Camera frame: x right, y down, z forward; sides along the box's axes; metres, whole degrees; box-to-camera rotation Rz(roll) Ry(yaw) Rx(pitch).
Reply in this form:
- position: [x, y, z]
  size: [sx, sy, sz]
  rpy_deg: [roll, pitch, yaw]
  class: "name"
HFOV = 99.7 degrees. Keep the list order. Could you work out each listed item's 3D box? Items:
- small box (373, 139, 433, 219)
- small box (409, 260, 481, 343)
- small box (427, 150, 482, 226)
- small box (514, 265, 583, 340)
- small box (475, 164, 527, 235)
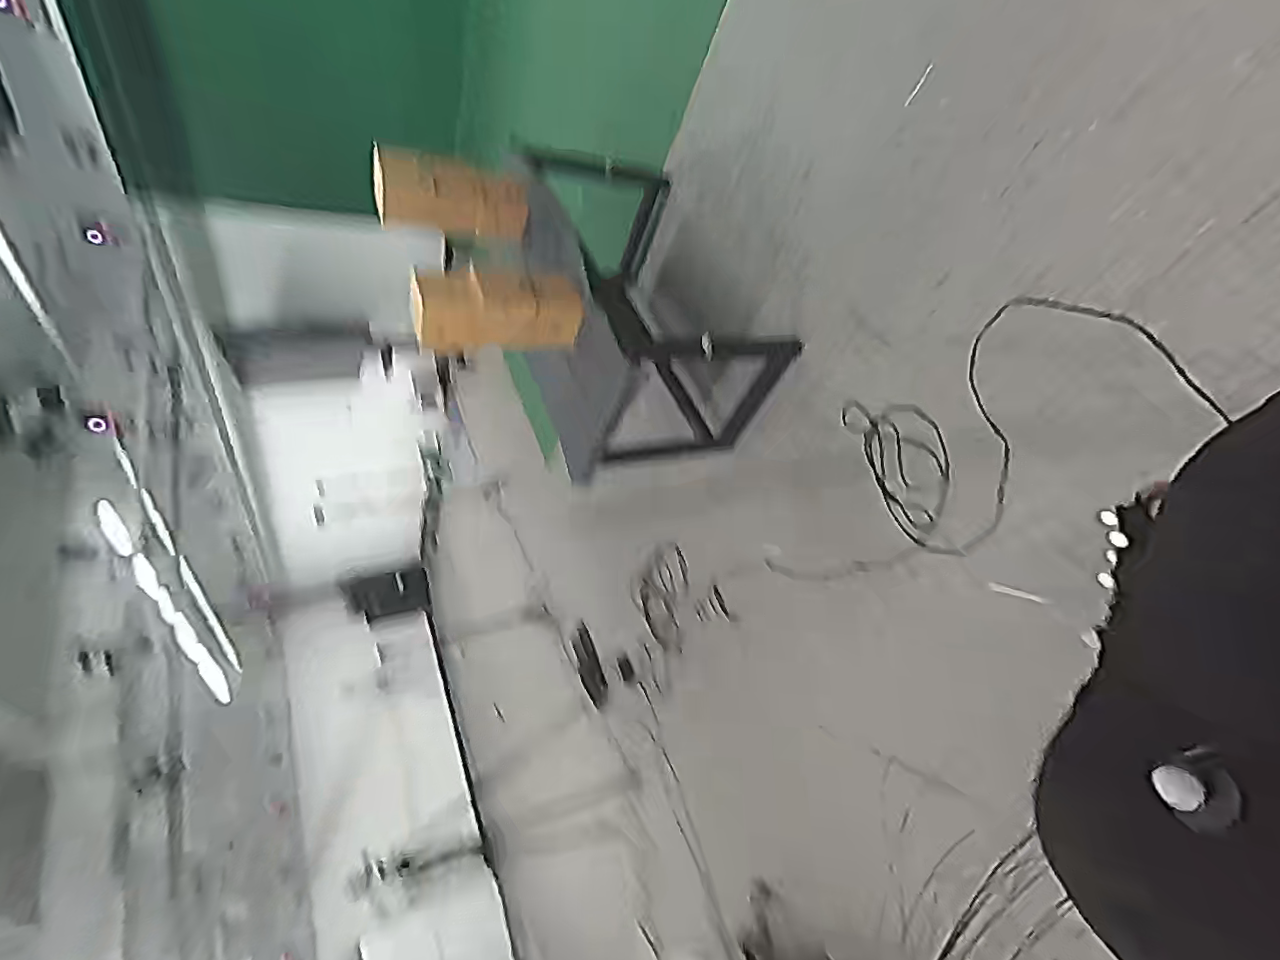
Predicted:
- position: [-0.820, -1.034, 1.872]
  size: [0.179, 0.176, 0.168]
  rpy_deg: [-49, 57, 53]
  class: "small box"
- position: [-0.586, -0.534, 1.625]
  size: [0.168, 0.176, 0.179]
  rpy_deg: [63, 146, 27]
  class: "small box"
- position: [-0.678, -1.048, 1.955]
  size: [0.179, 0.176, 0.168]
  rpy_deg: [-41, 62, 58]
  class: "small box"
- position: [-0.301, -0.582, 1.779]
  size: [0.168, 0.176, 0.179]
  rpy_deg: [63, 146, 27]
  class: "small box"
- position: [-0.536, -1.050, 2.035]
  size: [0.179, 0.176, 0.168]
  rpy_deg: [-32, 70, 60]
  class: "small box"
